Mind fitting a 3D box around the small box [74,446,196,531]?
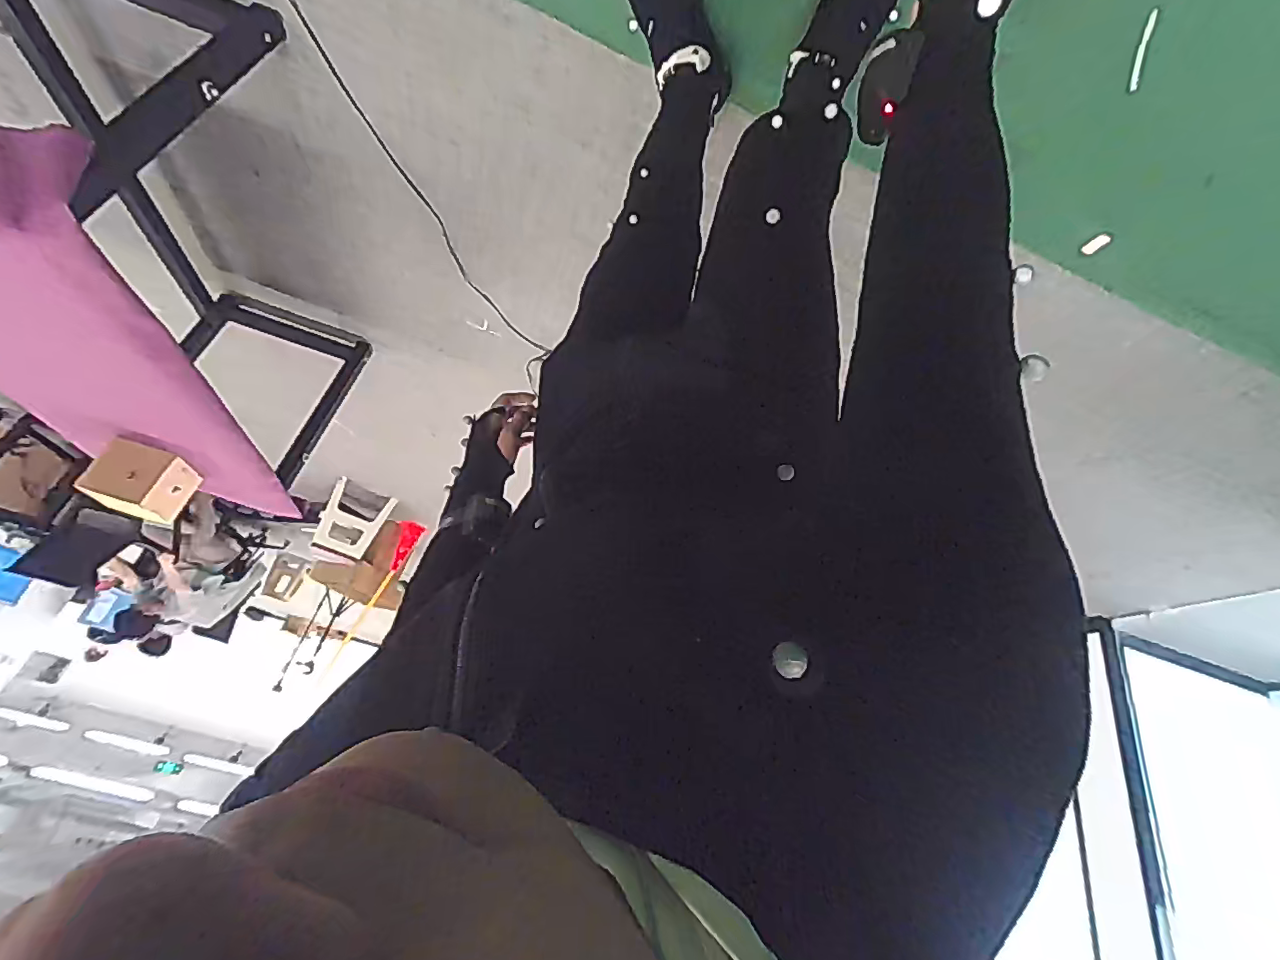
[{"bbox_3d":[-1.446,0.023,1.570,0.179,0.176,0.168,18,151,-7],"label":"small box"}]
